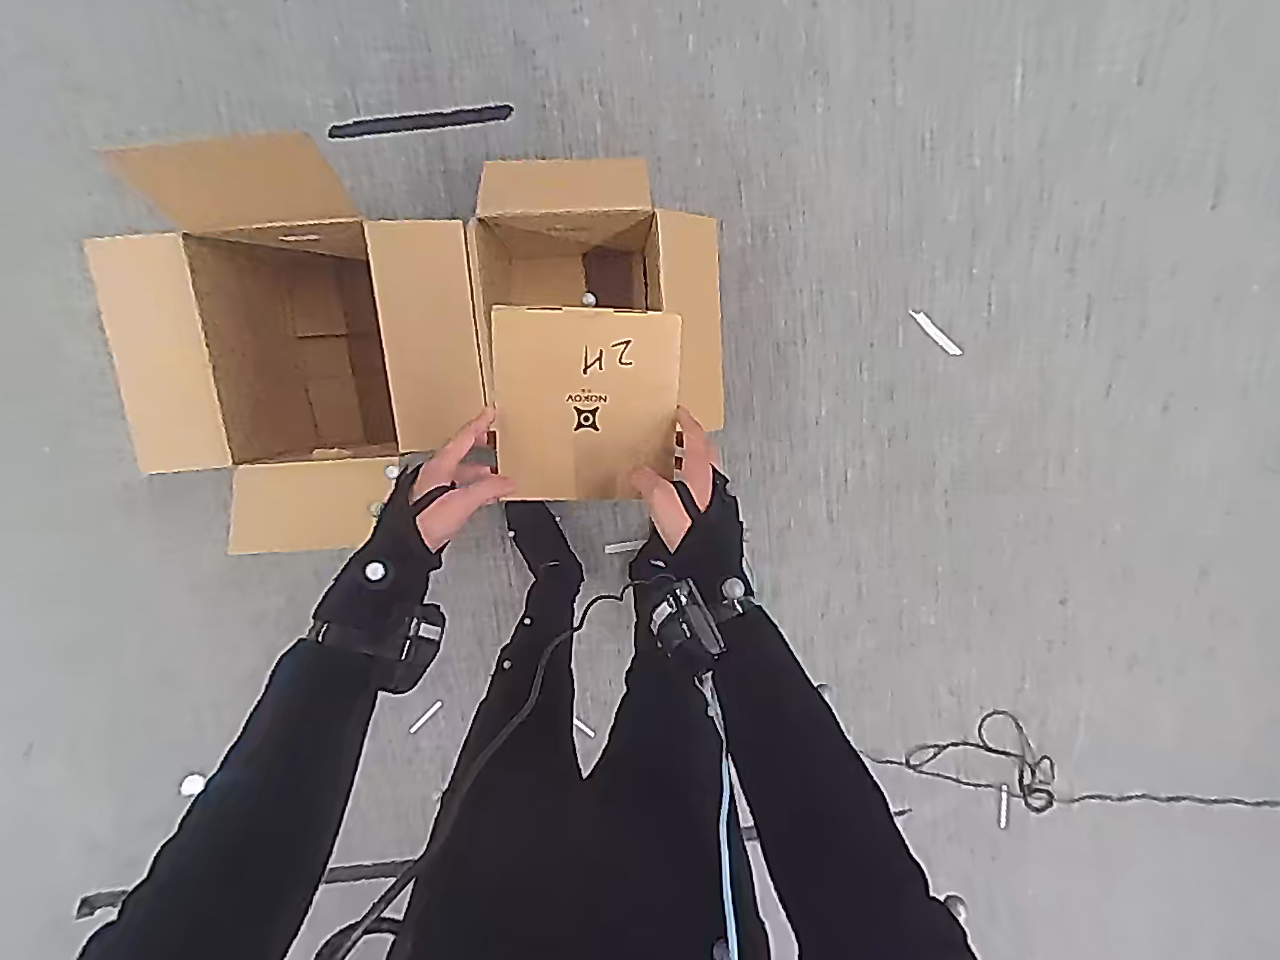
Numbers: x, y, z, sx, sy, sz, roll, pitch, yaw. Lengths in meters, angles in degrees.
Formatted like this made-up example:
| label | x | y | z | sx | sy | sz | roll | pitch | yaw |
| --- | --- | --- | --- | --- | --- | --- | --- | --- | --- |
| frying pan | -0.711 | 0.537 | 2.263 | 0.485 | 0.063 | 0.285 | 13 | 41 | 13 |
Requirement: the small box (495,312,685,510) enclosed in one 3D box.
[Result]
| label | x | y | z | sx | sy | sz | roll | pitch | yaw |
| --- | --- | --- | --- | --- | --- | --- | --- | --- | --- |
| small box | -0.053 | -0.078 | 0.562 | 0.168 | 0.176 | 0.179 | 1 | 105 | -6 |
